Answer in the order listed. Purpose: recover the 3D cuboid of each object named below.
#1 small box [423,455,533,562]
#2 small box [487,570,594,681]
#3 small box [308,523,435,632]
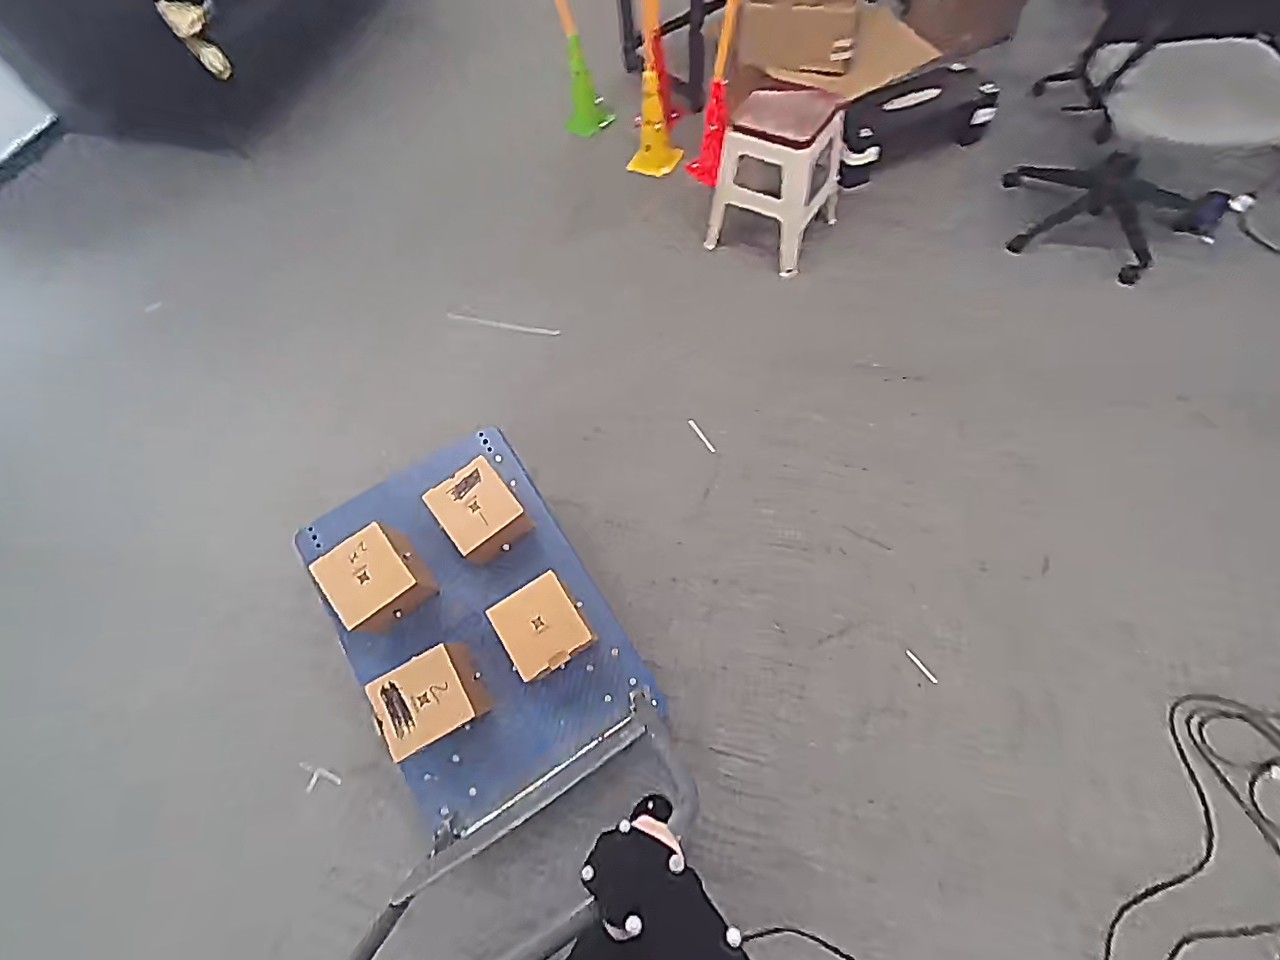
[{"bbox_3d":[-0.378,0.076,1.286,0.168,0.176,0.179,-37,79,-12],"label":"small box"},{"bbox_3d":[-0.217,0.329,1.216,0.168,0.176,0.179,-32,77,-11],"label":"small box"},{"bbox_3d":[-0.599,0.226,1.230,0.168,0.176,0.179,-36,78,-13],"label":"small box"}]
